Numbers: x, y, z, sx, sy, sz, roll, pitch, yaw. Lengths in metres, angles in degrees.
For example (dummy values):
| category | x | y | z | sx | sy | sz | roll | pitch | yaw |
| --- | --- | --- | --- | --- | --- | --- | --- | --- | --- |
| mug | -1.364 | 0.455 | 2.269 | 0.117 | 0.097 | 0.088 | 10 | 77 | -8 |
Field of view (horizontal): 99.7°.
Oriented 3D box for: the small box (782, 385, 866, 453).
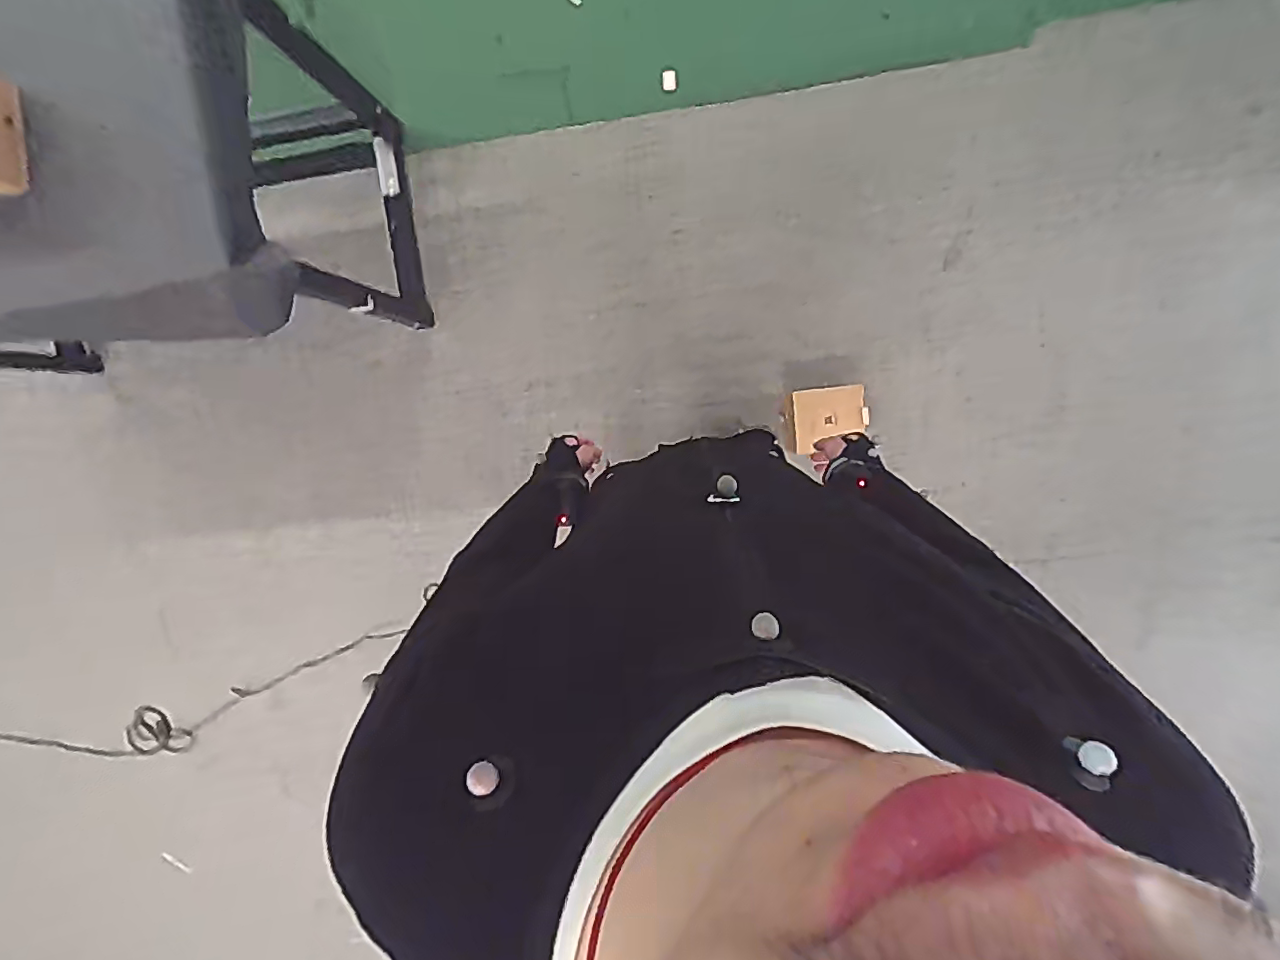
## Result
| category | x | y | z | sx | sy | sz | roll | pitch | yaw |
| --- | --- | --- | --- | --- | --- | --- | --- | --- | --- |
| small box | 0.481 | -0.161 | 1.426 | 0.179 | 0.176 | 0.168 | -3 | 95 | 6 |

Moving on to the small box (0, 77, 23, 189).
| category | x | y | z | sx | sy | sz | roll | pitch | yaw |
| --- | --- | --- | --- | --- | --- | --- | --- | --- | --- |
| small box | -1.095 | -0.555 | 0.812 | 0.179 | 0.176 | 0.168 | 3 | 98 | 5 |
